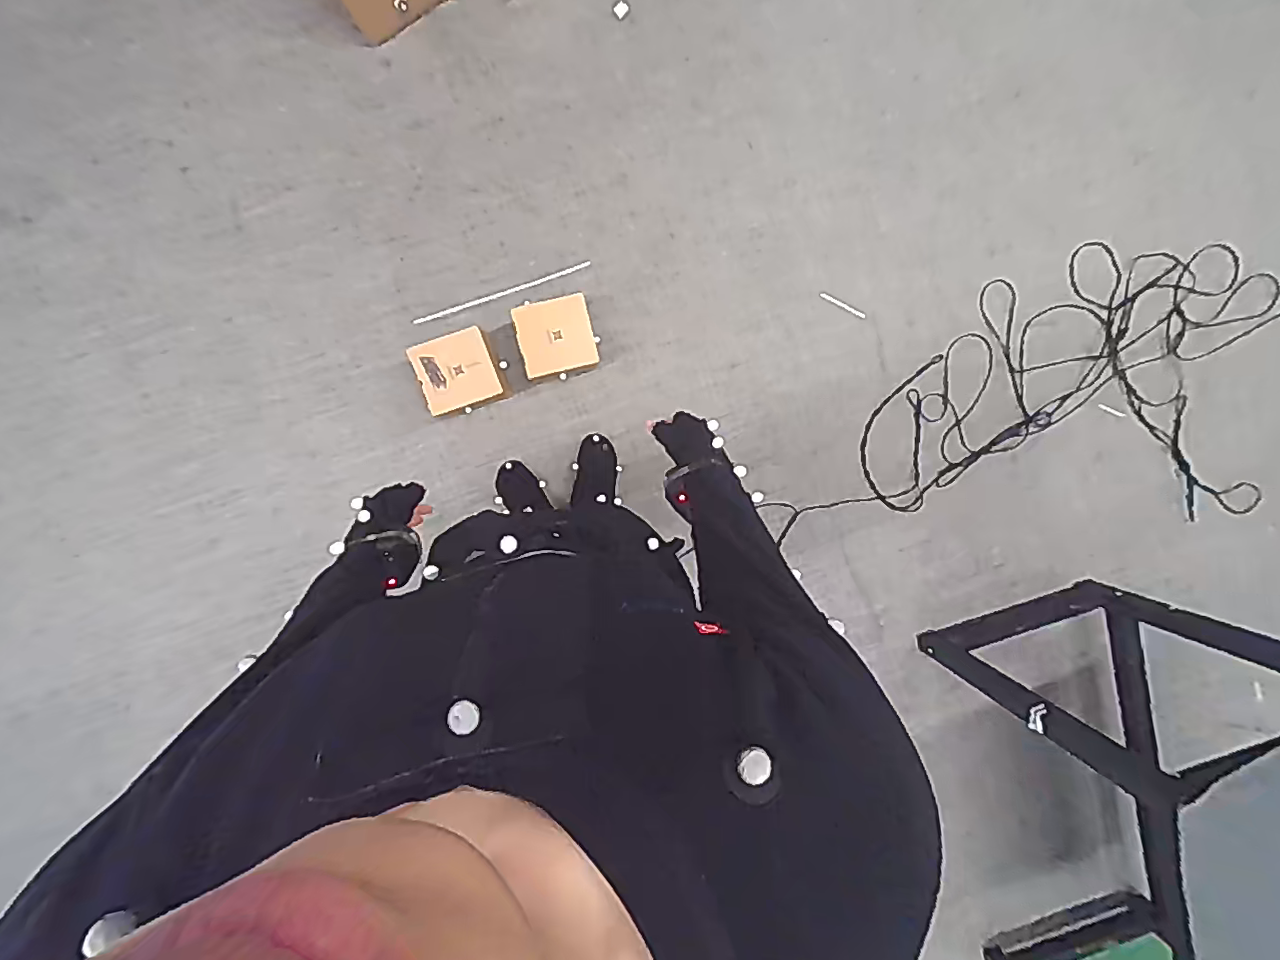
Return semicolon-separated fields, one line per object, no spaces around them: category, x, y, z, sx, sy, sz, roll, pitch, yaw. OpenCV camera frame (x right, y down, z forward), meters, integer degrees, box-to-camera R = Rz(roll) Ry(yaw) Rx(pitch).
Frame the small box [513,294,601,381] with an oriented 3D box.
small box;-0.199;-0.345;1.336;0.179;0.176;0.168;-14;98;-2

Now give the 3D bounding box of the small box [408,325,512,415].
small box;-0.430;-0.260;1.324;0.179;0.176;0.168;-20;98;-3
